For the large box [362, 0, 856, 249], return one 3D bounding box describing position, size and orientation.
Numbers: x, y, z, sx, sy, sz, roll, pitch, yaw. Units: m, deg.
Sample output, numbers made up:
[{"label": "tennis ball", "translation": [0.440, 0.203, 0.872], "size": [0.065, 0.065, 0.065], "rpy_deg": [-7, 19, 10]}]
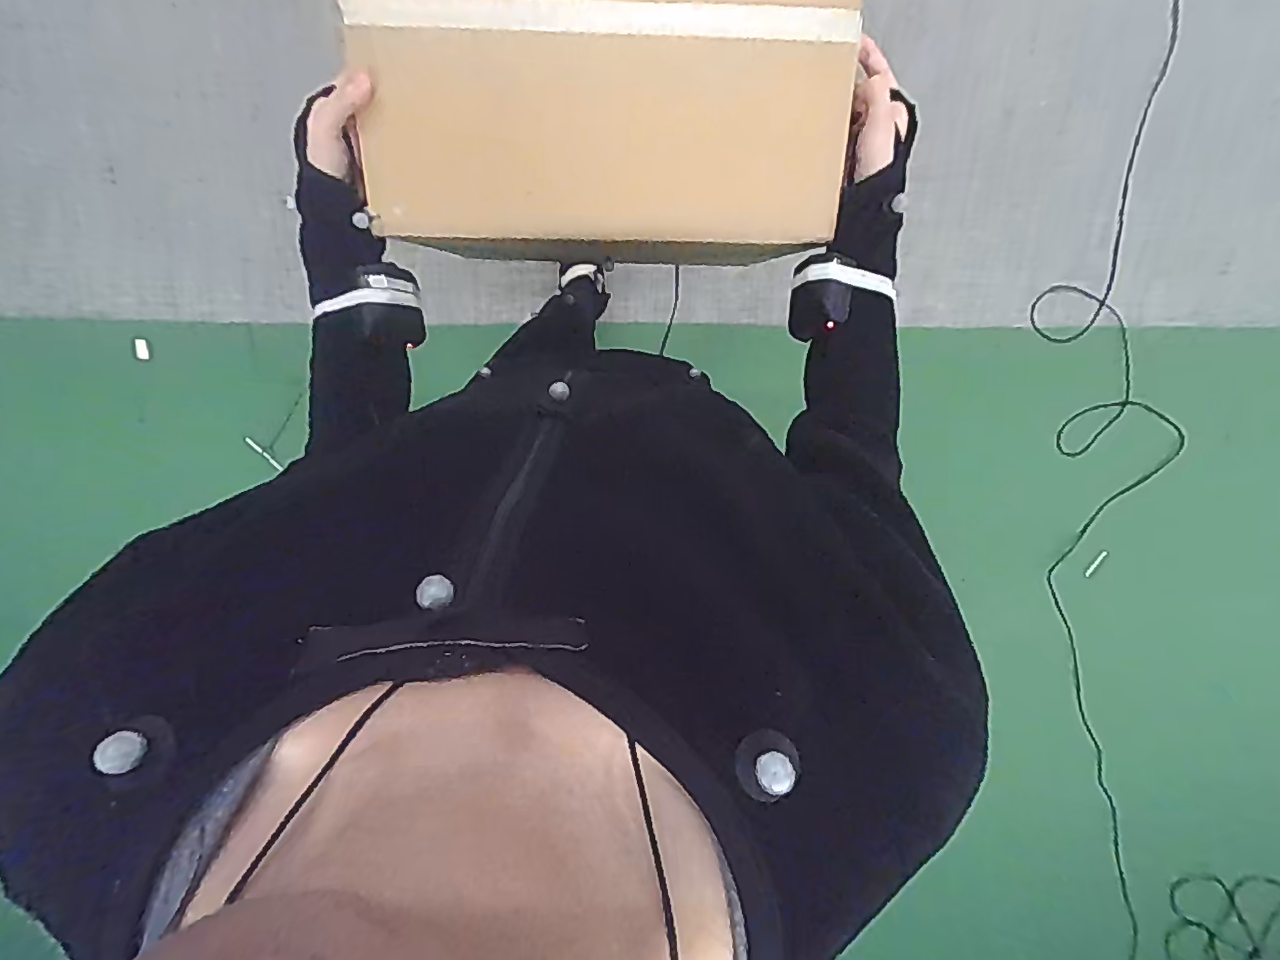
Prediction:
[{"label": "large box", "translation": [-0.027, -0.421, 0.576], "size": [0.408, 0.320, 0.320], "rpy_deg": [0, 108, -2]}]
